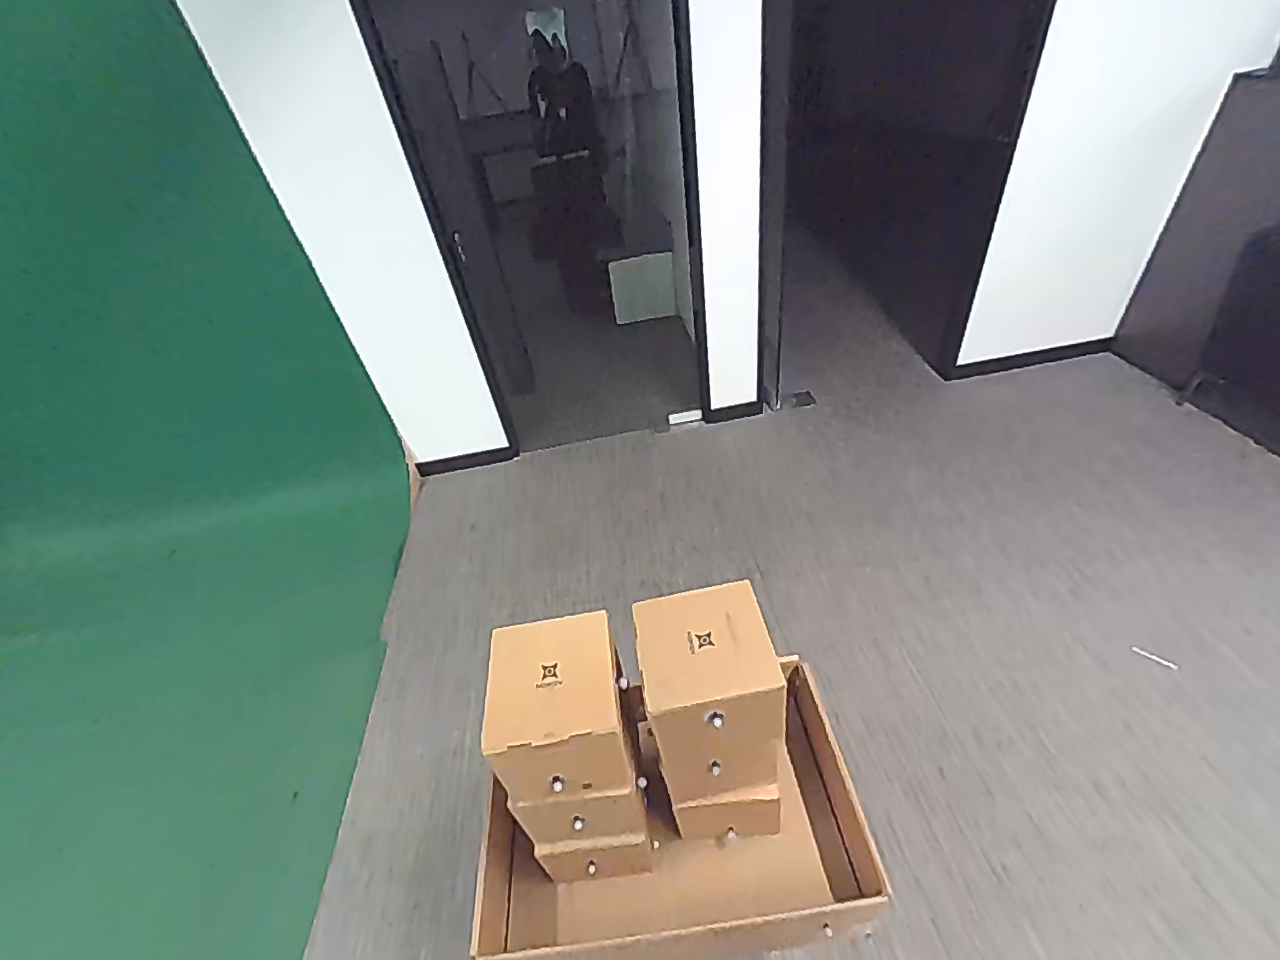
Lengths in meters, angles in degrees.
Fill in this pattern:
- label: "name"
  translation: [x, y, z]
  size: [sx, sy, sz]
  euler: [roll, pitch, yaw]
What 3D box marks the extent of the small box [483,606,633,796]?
- label: "small box"
  translation: [-0.107, 0.307, 0.756]
  size: [0.168, 0.176, 0.179]
  euler: [-10, 40, -1]
